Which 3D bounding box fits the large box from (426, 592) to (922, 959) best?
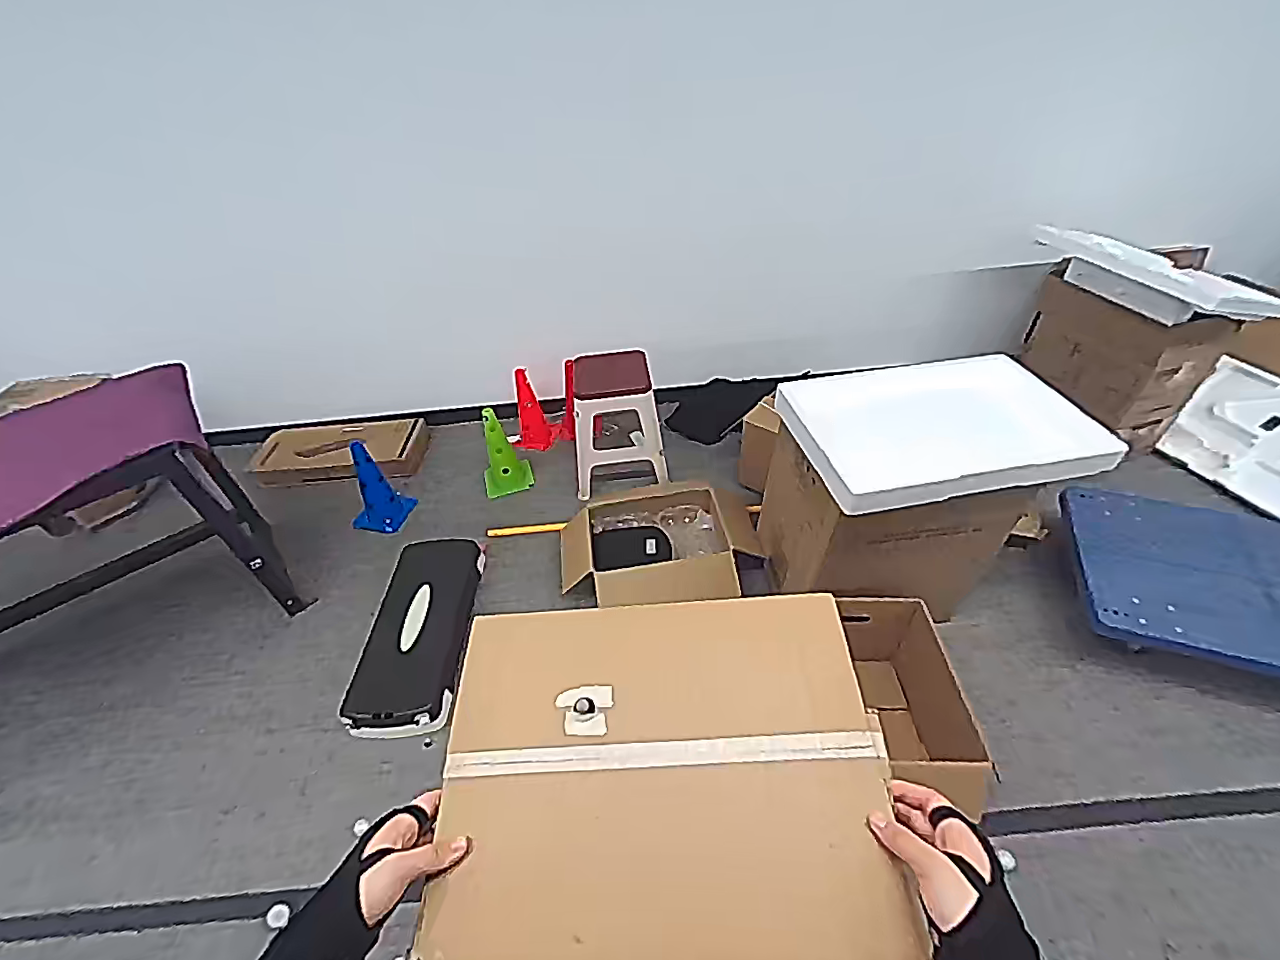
[{"bbox_3d":[0.037,0.358,0.631,0.408,0.320,0.320,-6,49,5],"label":"large box"}]
